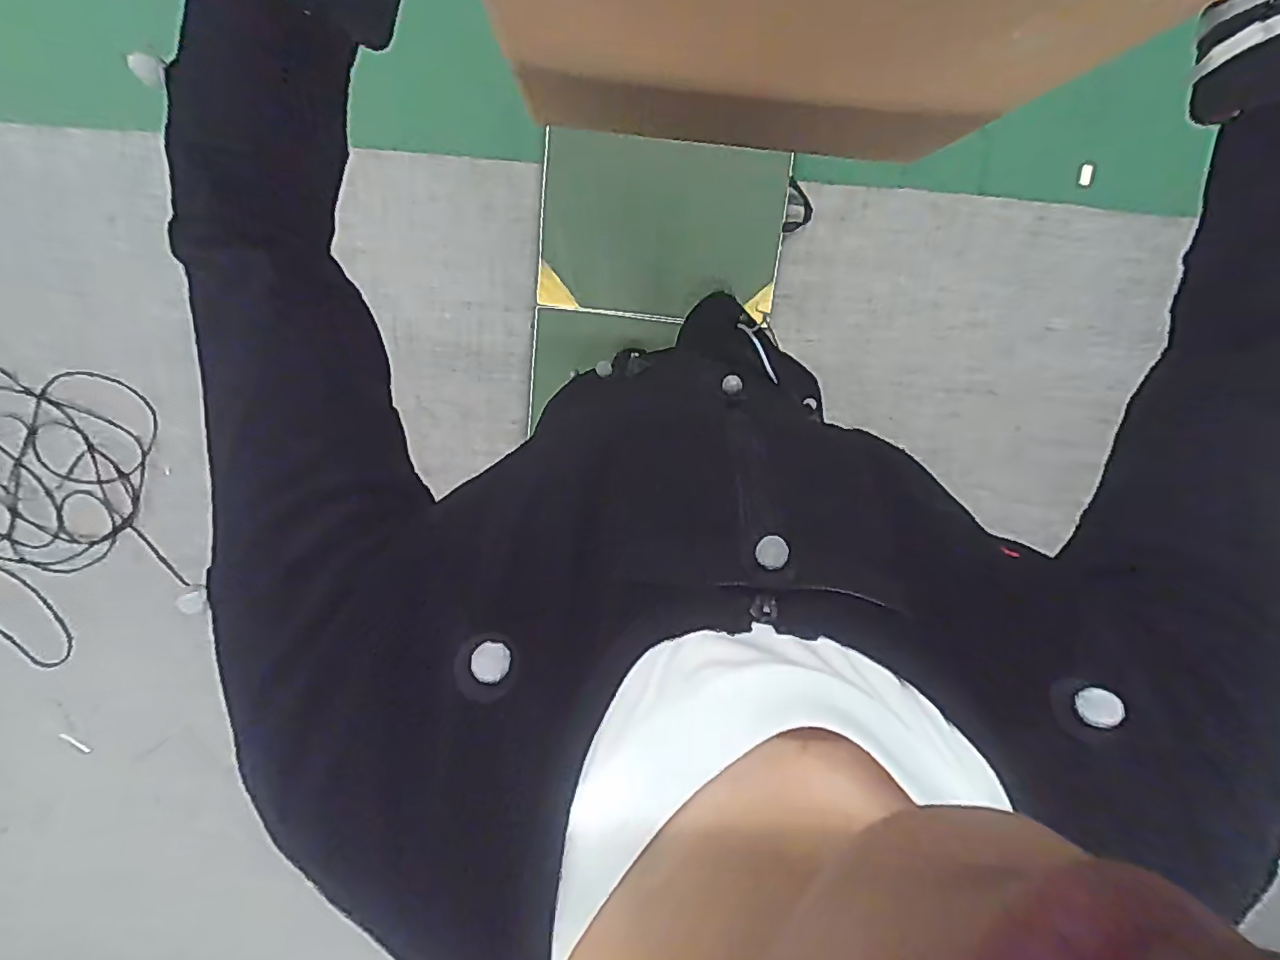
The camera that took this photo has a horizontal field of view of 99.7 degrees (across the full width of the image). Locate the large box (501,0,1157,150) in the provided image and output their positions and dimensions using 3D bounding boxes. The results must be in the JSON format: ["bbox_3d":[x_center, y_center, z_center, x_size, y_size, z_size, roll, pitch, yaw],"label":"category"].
[{"bbox_3d":[0.108,-0.461,0.378,0.408,0.320,0.320,3,106,-5],"label":"large box"}]
